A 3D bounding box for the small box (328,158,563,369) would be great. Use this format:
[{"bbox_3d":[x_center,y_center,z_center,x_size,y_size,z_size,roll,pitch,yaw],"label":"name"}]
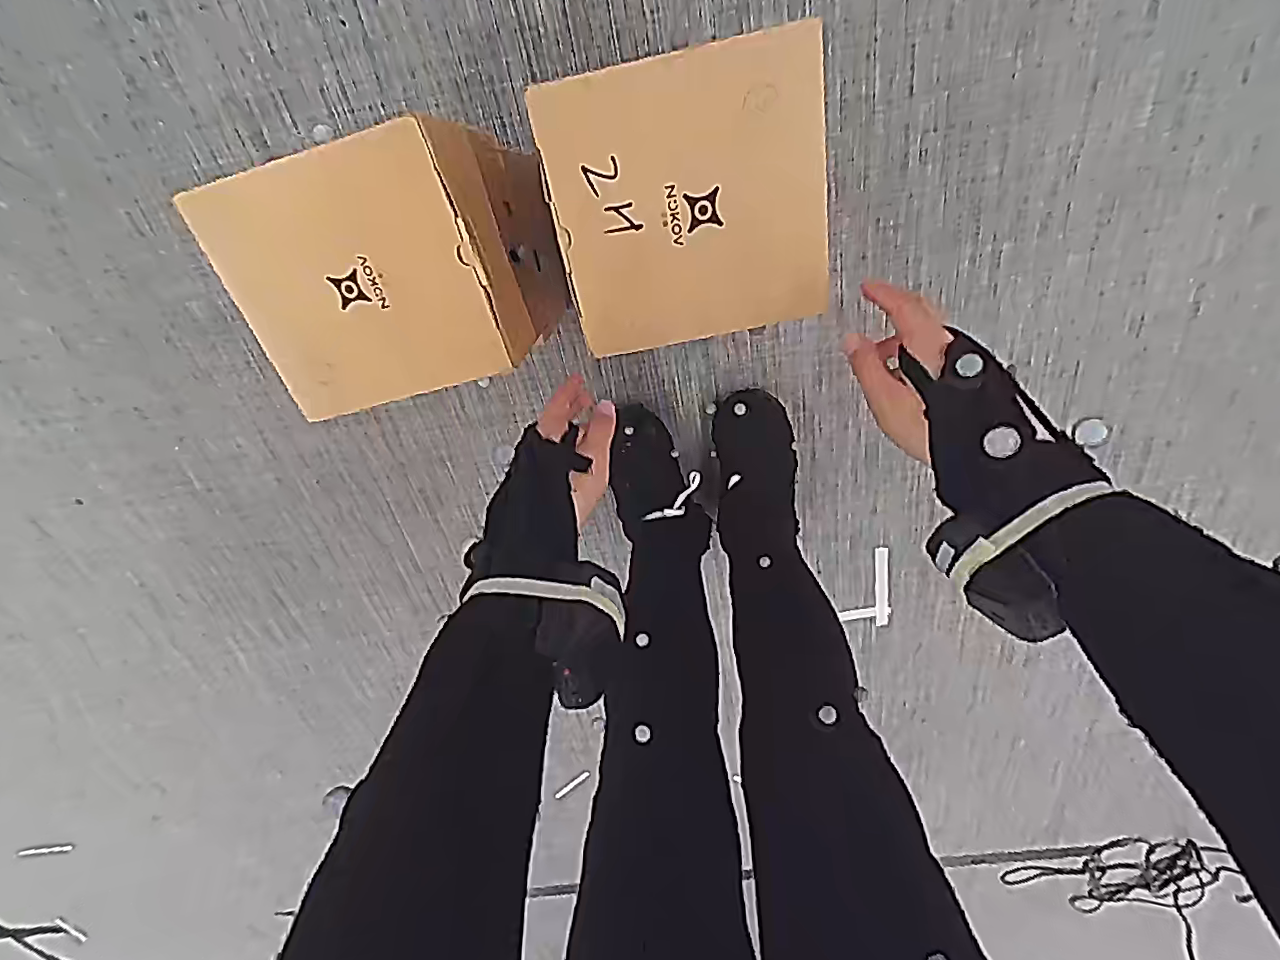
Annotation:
[{"bbox_3d":[-0.188,-0.238,0.589,0.168,0.176,0.179,-7,118,4],"label":"small box"}]
